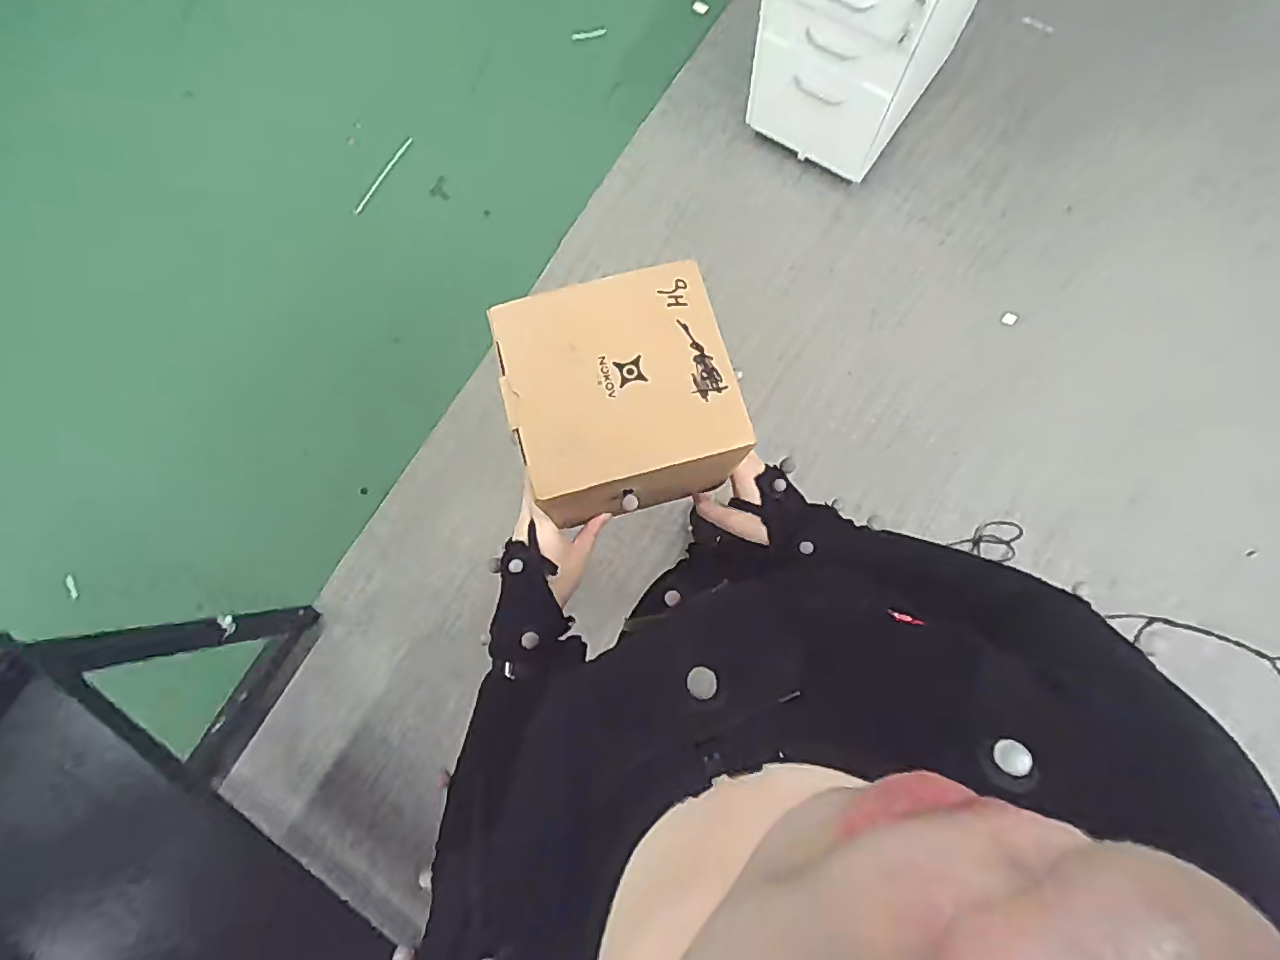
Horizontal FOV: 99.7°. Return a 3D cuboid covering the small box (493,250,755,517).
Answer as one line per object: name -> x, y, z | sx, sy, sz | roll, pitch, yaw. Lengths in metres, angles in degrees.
small box -> -0.015, -0.072, 0.495 | 0.179, 0.176, 0.168 | -14, 78, -4
